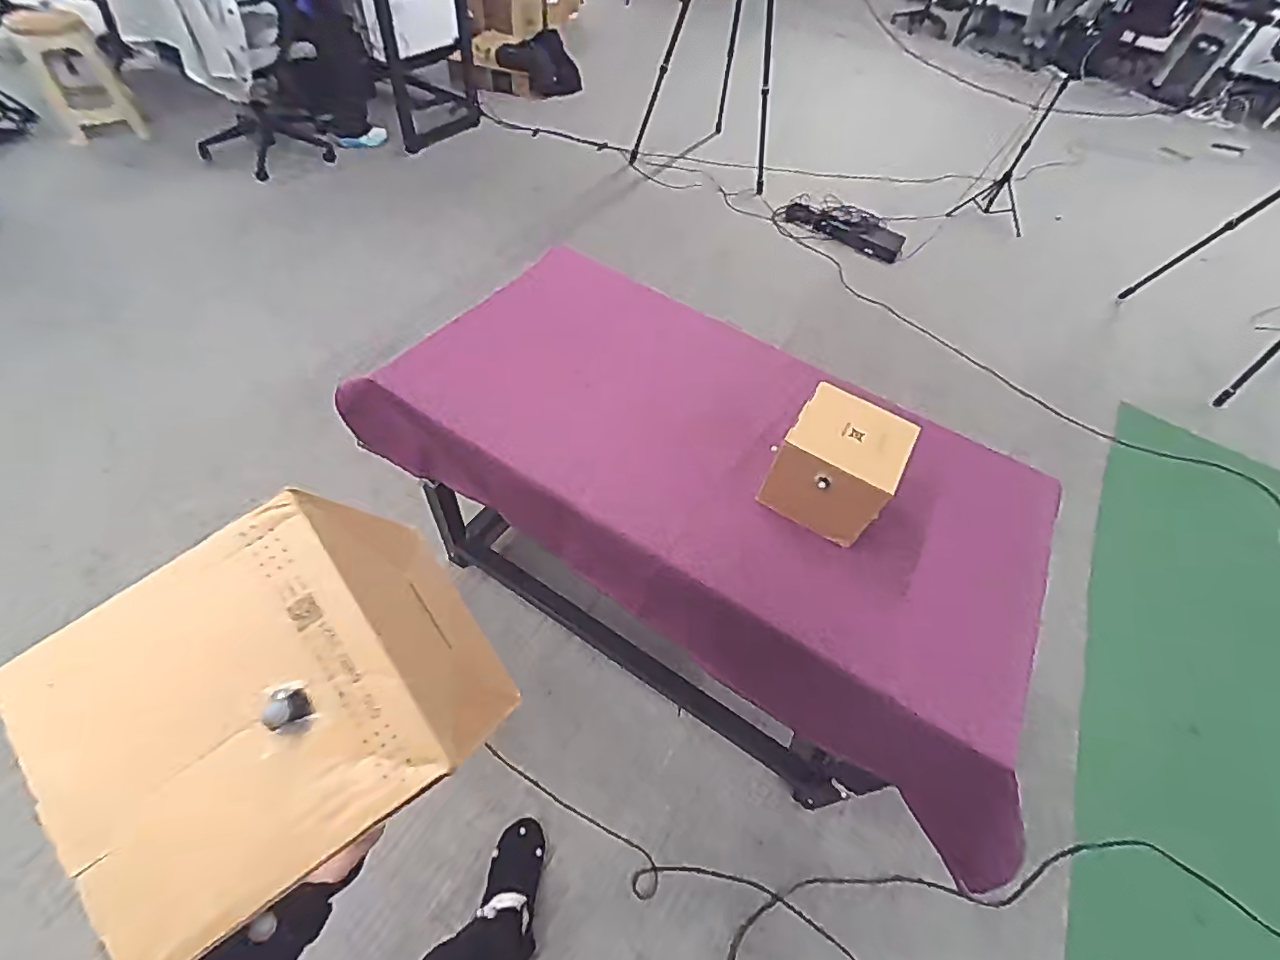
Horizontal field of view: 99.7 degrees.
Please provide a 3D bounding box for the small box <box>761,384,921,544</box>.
[{"bbox_3d":[0.327,-0.021,0.905,0.179,0.176,0.168,30,56,14],"label":"small box"}]

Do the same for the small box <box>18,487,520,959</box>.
[{"bbox_3d":[-0.197,0.126,0.348,0.176,0.179,0.168,-34,81,-8],"label":"small box"}]
